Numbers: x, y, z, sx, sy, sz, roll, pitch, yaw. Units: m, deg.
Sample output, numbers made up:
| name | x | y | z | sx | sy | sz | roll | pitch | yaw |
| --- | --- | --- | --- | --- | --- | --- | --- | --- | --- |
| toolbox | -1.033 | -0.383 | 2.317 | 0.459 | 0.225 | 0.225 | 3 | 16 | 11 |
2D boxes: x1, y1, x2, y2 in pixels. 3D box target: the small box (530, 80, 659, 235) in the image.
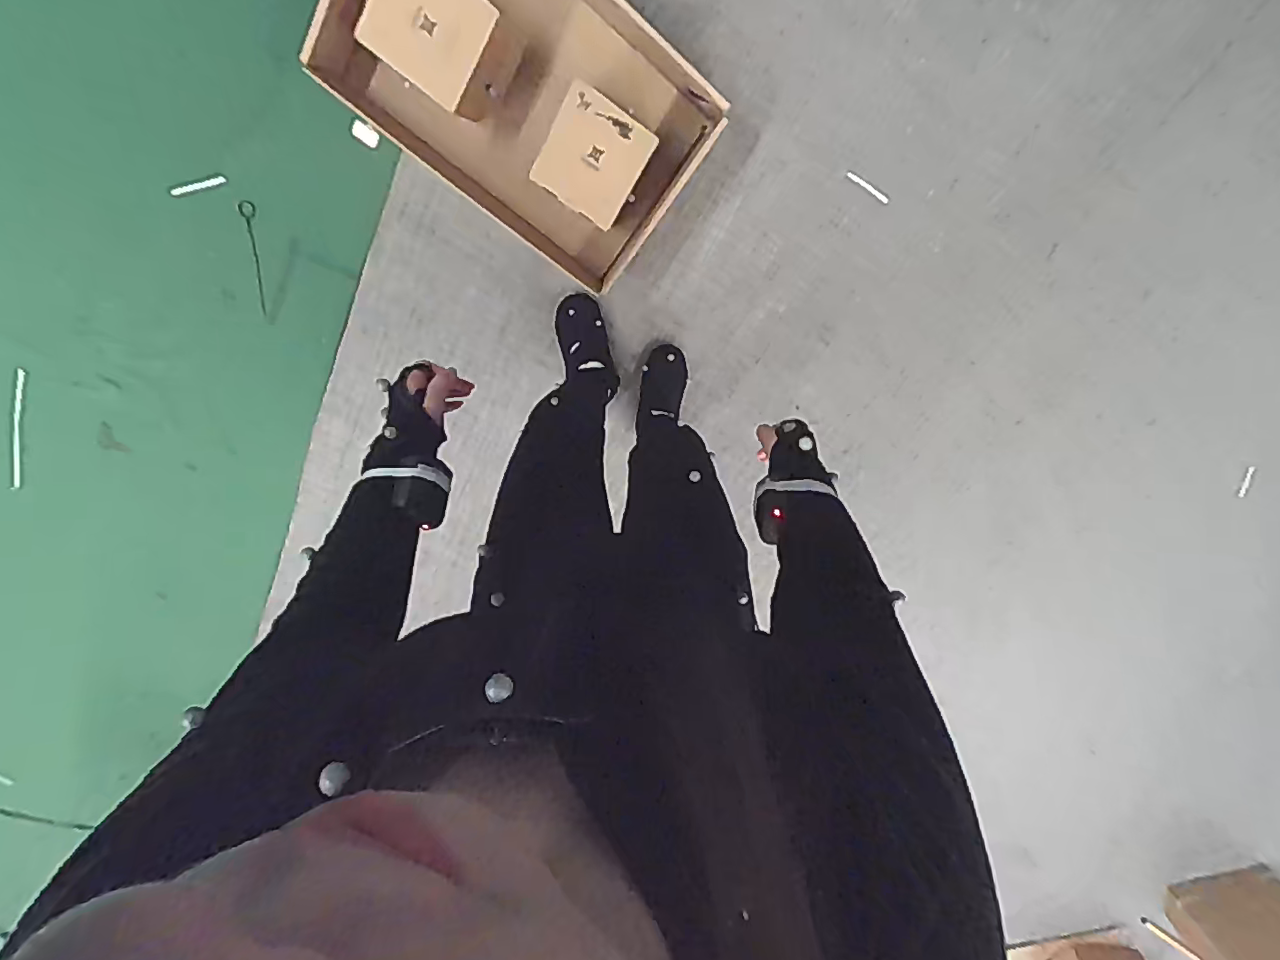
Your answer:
| name | x | y | z | sx | sy | sz | roll | pitch | yaw |
| --- | --- | --- | --- | --- | --- | --- | --- | --- | --- |
| small box | -0.079 | -0.587 | 1.001 | 0.168 | 0.176 | 0.179 | 30 | 115 | -16 |
